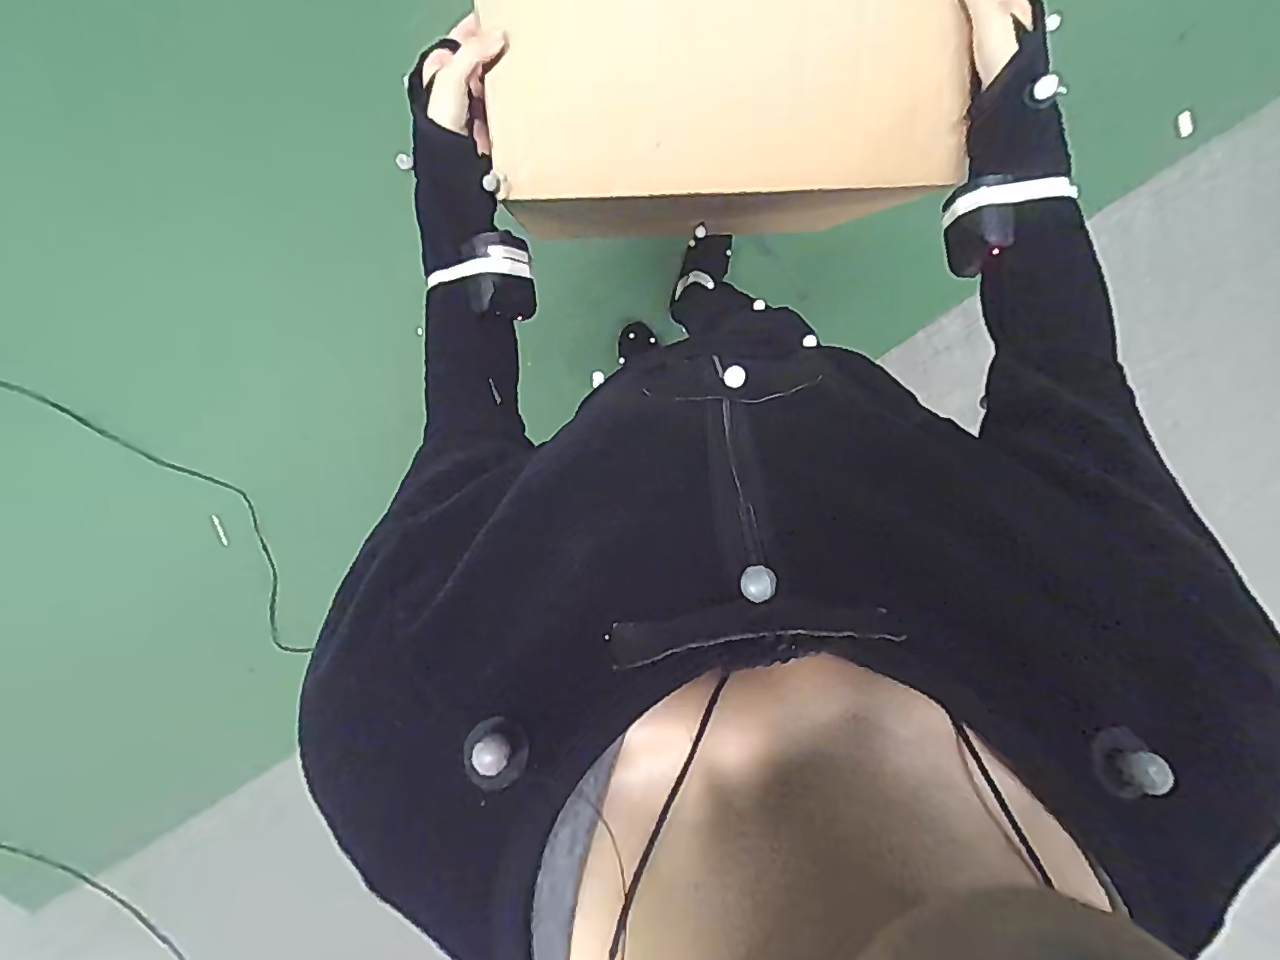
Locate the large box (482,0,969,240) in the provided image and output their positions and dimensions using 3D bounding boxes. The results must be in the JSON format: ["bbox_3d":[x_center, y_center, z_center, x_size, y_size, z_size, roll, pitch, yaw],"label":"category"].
[{"bbox_3d":[0.065,-0.439,0.569,0.408,0.320,0.320,-3,107,-3],"label":"large box"}]
